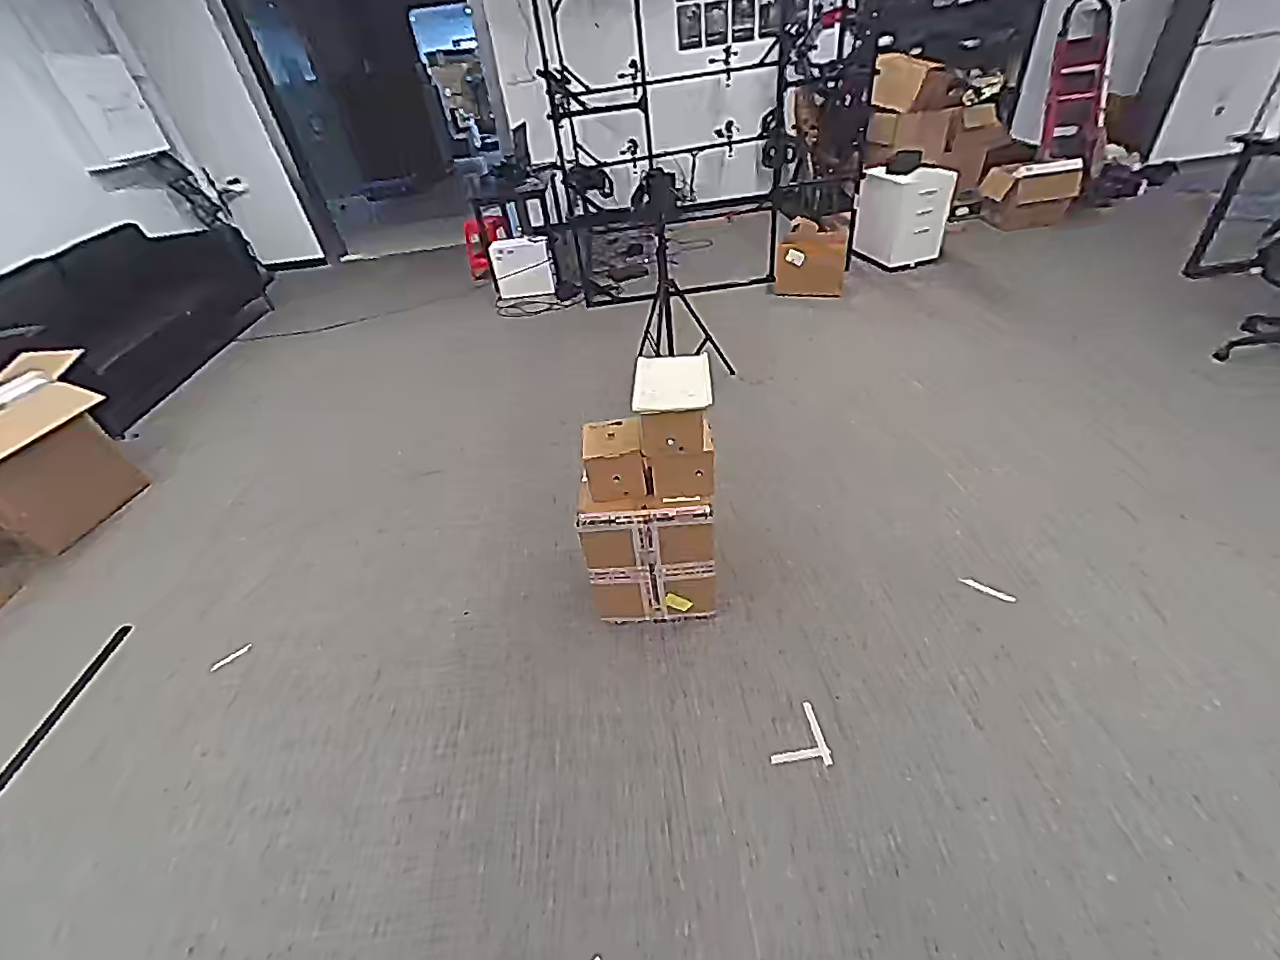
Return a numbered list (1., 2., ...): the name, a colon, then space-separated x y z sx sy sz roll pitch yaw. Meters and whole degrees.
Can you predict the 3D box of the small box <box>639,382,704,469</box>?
1. small box: 0.087 -0.148 1.461 0.168 0.176 0.179 -1 41 5
